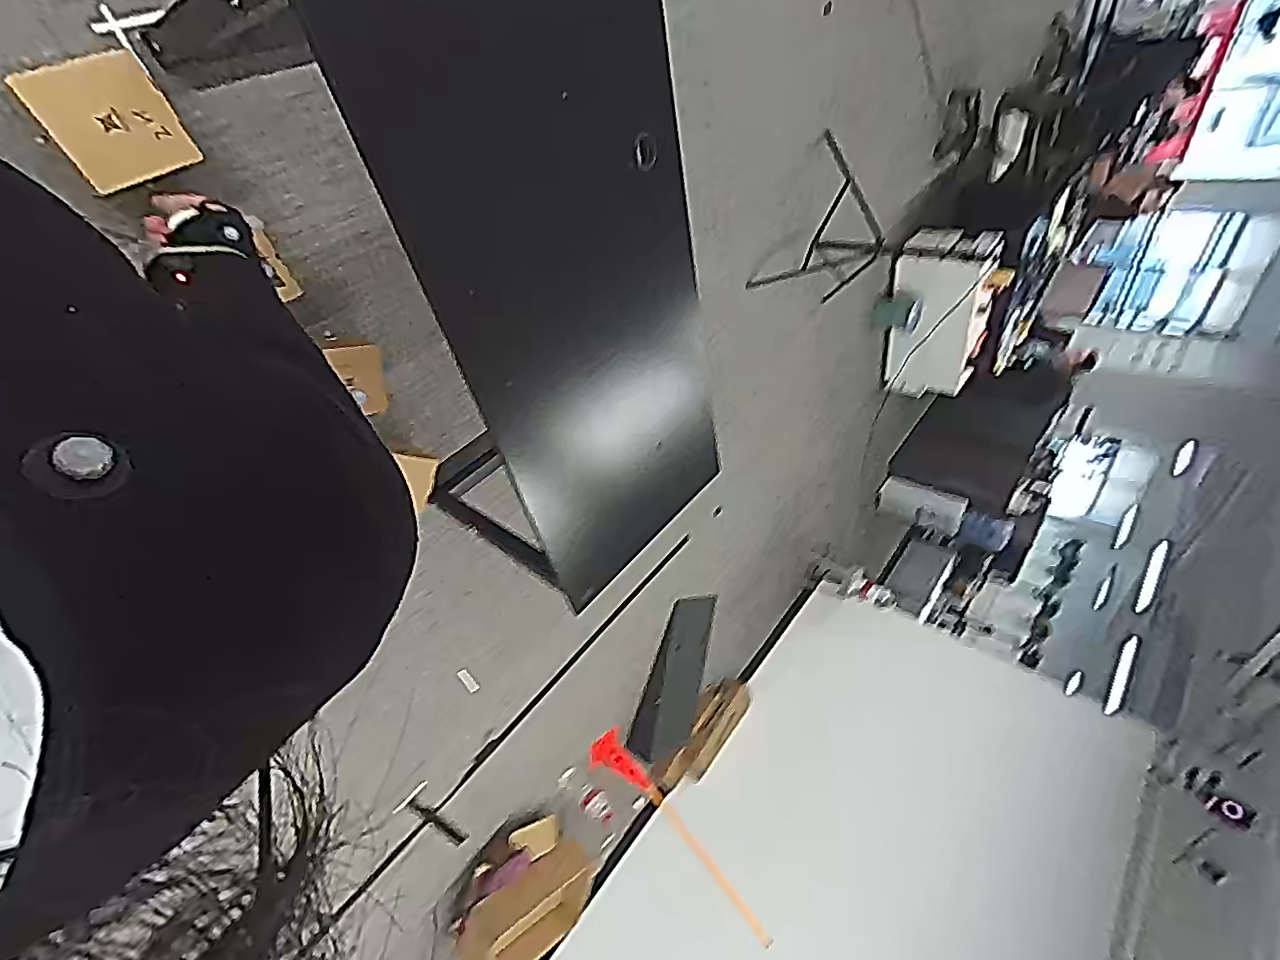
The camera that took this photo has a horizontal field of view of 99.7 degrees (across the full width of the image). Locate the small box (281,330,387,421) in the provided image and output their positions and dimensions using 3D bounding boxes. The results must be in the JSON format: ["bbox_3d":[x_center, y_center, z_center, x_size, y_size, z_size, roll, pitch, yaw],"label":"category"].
[{"bbox_3d":[-0.752,-0.264,1.332,0.168,0.176,0.179,-23,125,-43],"label":"small box"}]

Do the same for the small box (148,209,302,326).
[{"bbox_3d":[-0.850,-0.443,1.110,0.179,0.176,0.168,-41,137,-27],"label":"small box"}]

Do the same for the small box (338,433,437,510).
[{"bbox_3d":[-0.708,-0.025,1.513,0.179,0.176,0.168,8,102,-52],"label":"small box"}]
